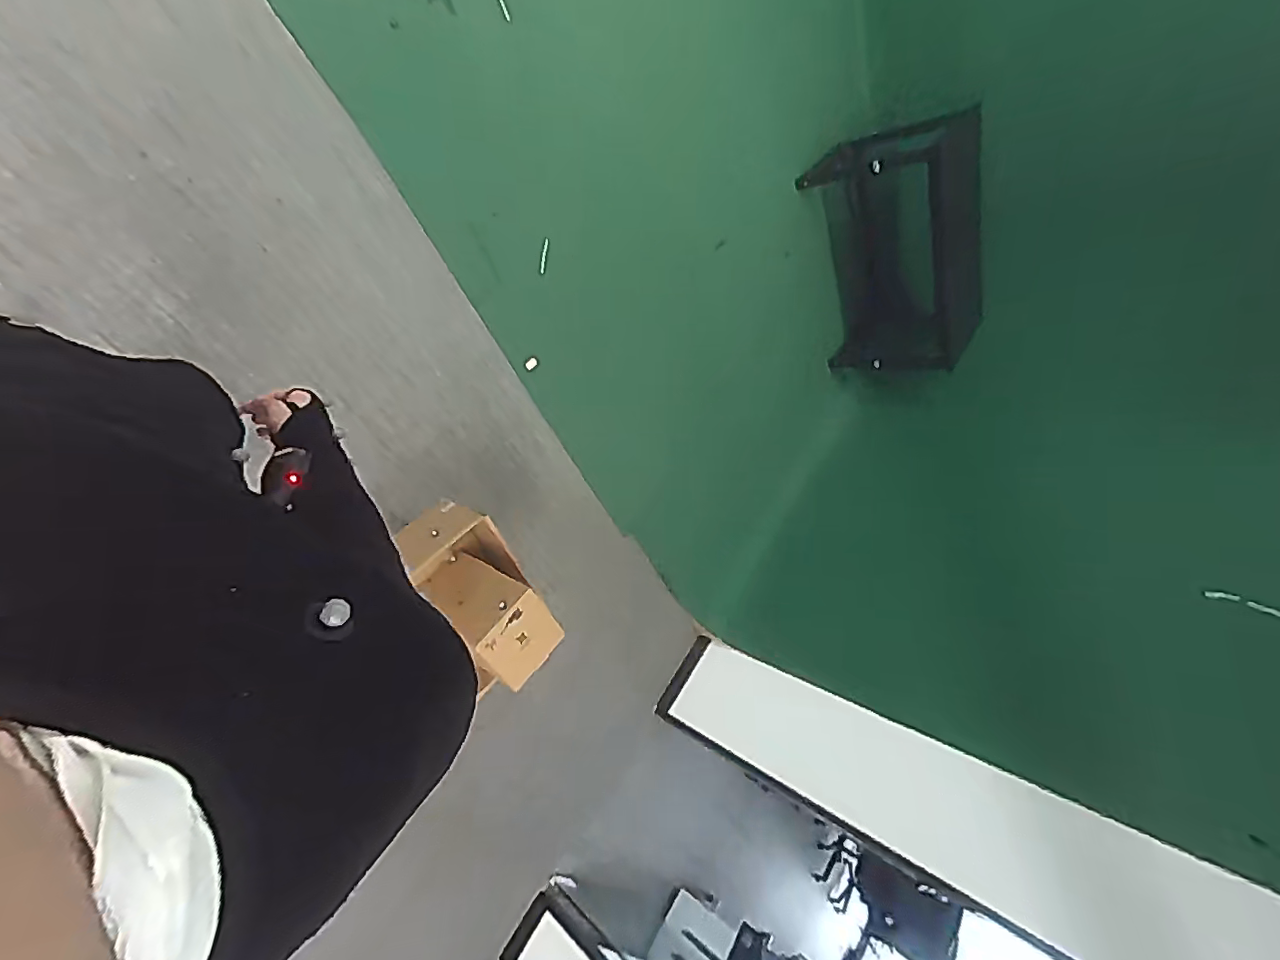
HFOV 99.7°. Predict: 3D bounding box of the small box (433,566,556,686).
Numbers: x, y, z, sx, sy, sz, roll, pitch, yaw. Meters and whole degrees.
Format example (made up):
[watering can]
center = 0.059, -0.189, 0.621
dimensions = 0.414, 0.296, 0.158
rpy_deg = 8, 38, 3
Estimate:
[small box]
center = -0.329, 0.322, 1.226
dimensions = 0.168, 0.176, 0.179
rpy_deg = -47, 130, -28
